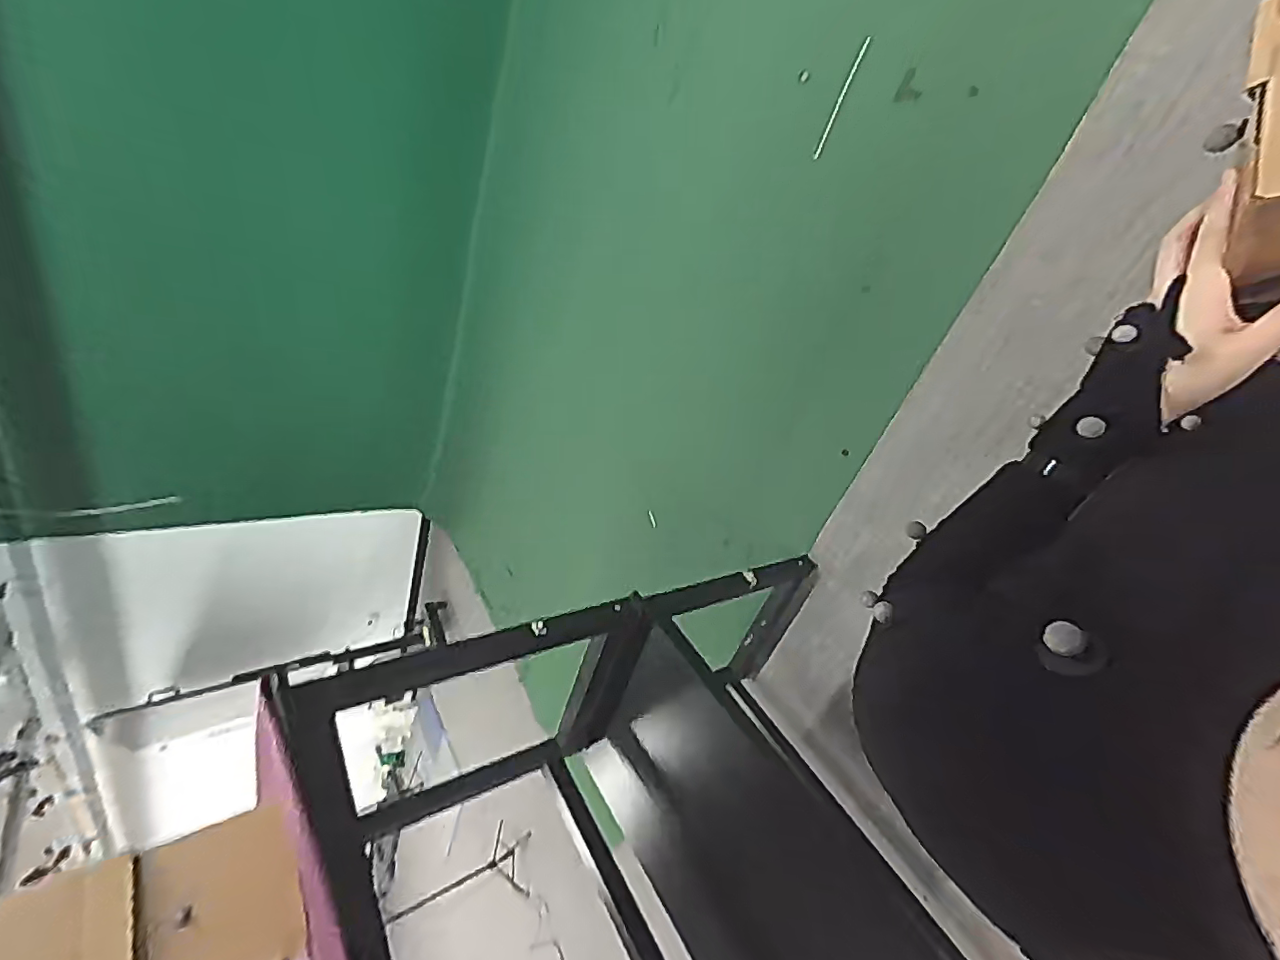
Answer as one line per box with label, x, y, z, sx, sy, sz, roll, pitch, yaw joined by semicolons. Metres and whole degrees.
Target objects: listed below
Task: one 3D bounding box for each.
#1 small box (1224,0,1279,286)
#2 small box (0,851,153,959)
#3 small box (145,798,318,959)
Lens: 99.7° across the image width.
small box;0.429;-0.210;0.267;0.179;0.176;0.168;8;92;44
small box;-0.674;0.593;0.634;0.179;0.176;0.168;47;130;36
small box;-0.554;0.587;0.745;0.179;0.176;0.168;51;132;34
